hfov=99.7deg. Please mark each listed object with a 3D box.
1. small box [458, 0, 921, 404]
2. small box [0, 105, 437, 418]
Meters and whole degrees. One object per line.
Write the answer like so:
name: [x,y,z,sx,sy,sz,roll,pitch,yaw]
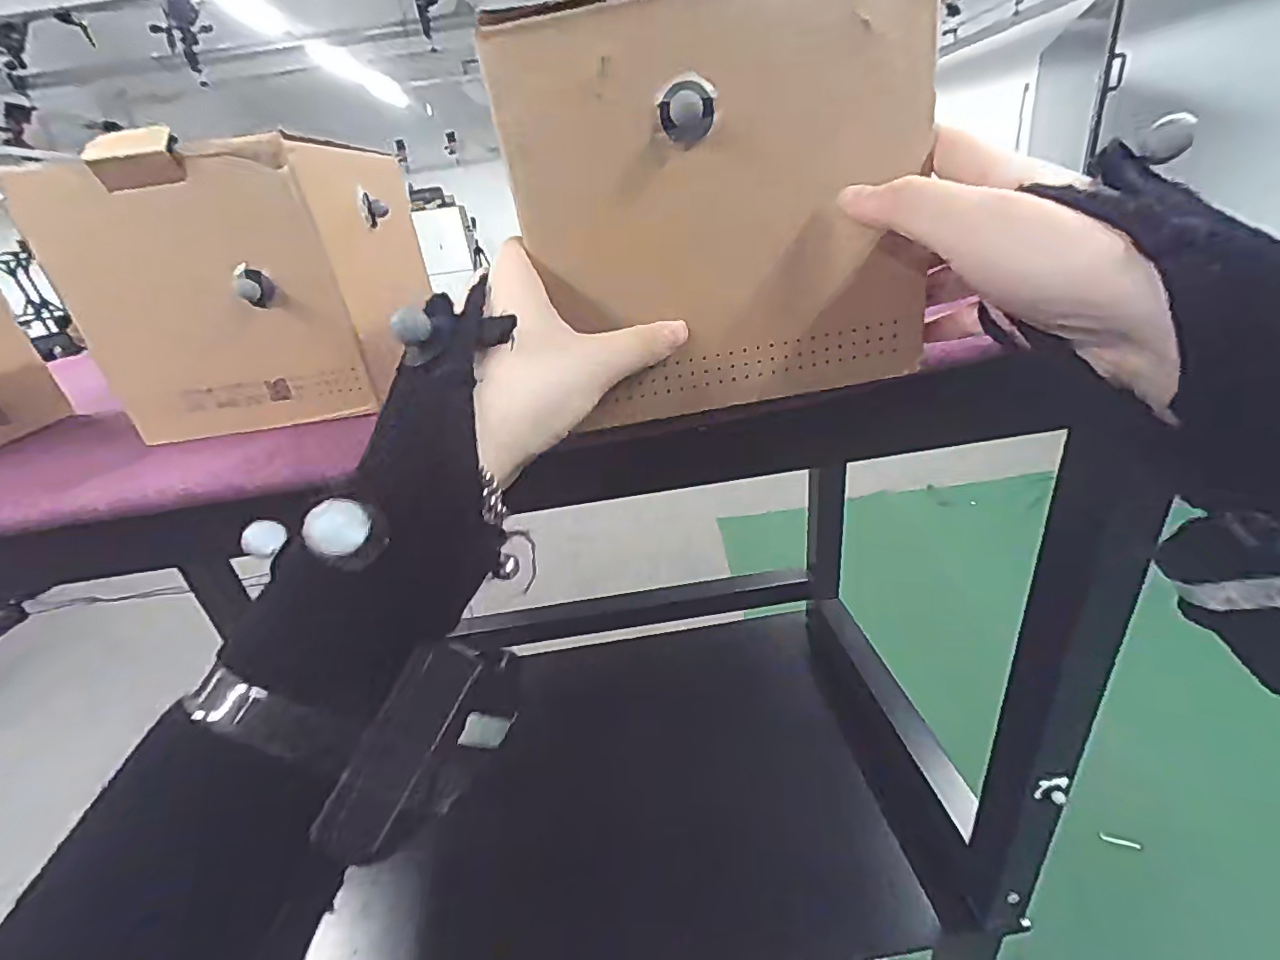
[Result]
small box: [0.032,-0.148,0.292,0.179,0.176,0.168,-9,25,3]
small box: [-0.268,-0.149,0.395,0.168,0.176,0.179,-7,27,0]
